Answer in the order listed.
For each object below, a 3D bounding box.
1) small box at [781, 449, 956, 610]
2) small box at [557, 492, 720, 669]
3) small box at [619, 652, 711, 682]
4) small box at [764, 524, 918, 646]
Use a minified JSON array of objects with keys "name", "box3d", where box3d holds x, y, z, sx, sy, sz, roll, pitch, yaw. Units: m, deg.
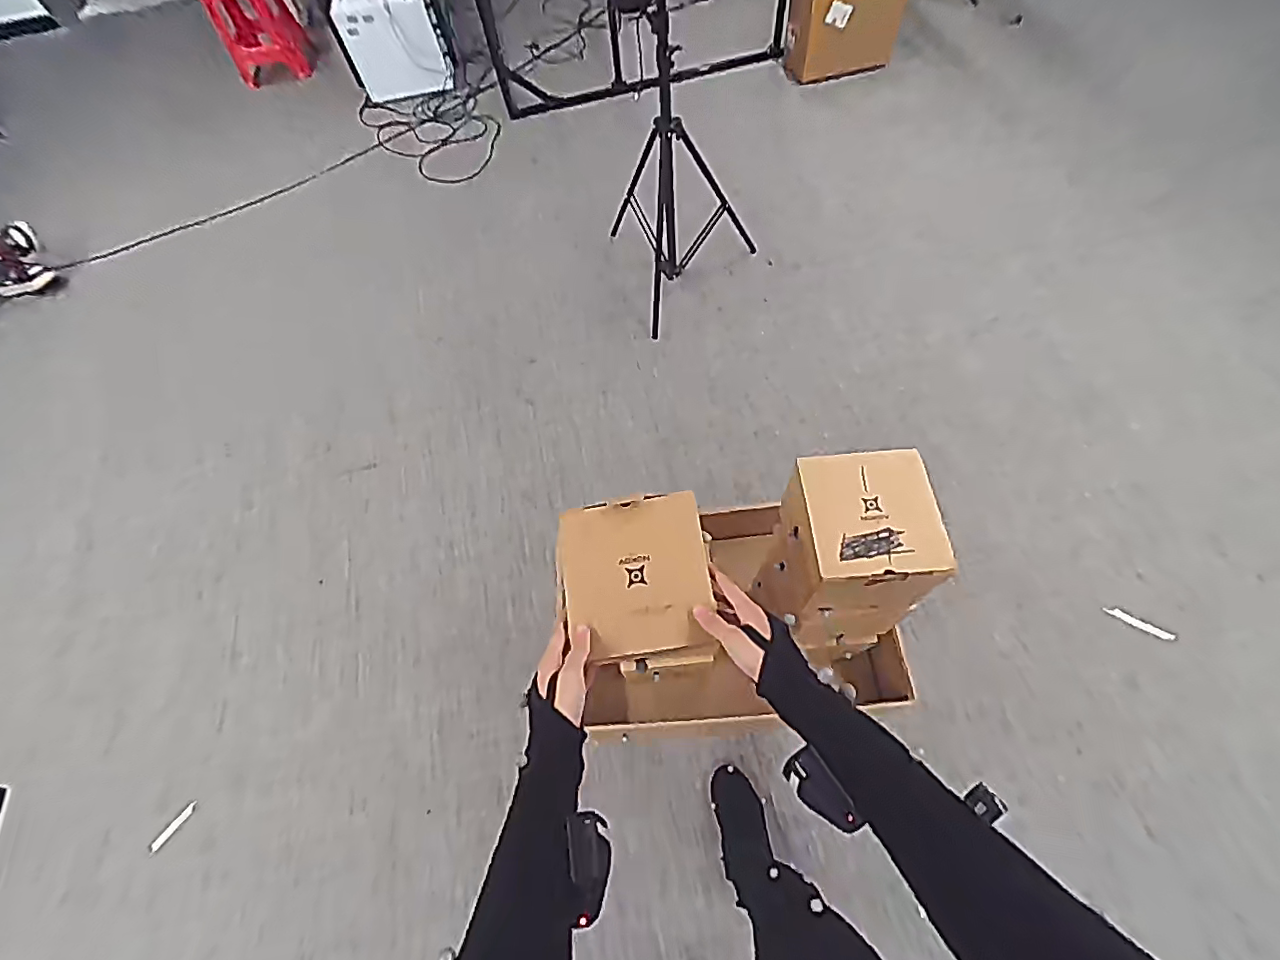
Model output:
[{"name":"small box","box3d":[0.301,0.078,0.755,0.168,0.176,0.179,-4,61,3]},{"name":"small box","box3d":[-0.001,0.132,0.670,0.168,0.176,0.179,-9,70,2]},{"name":"small box","box3d":[0.044,0.287,1.046,0.168,0.176,0.179,-7,61,1]},{"name":"small box","box3d":[0.316,0.169,0.893,0.179,0.176,0.168,-8,61,1]}]
